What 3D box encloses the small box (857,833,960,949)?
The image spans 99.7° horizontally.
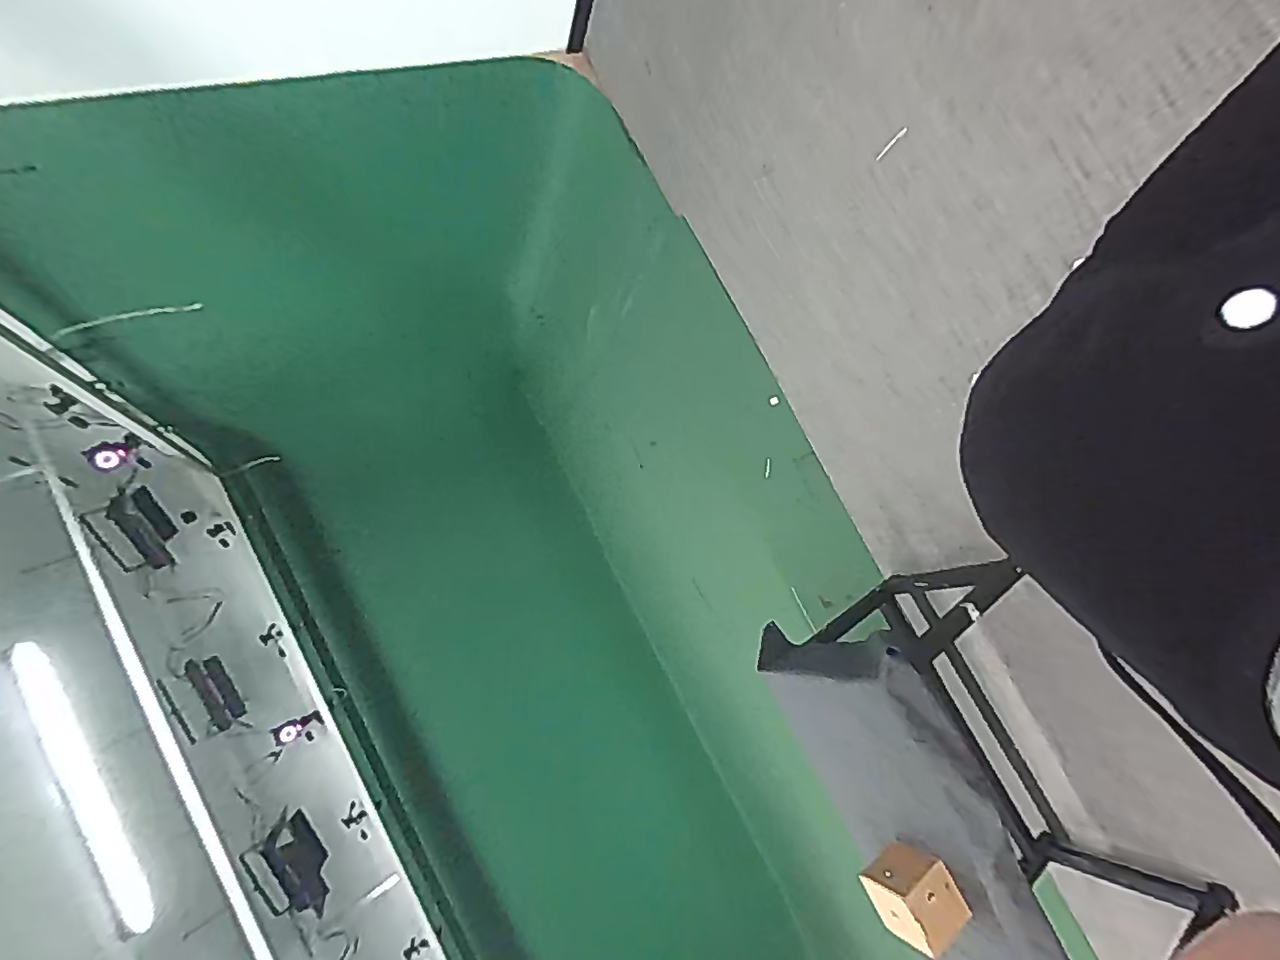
[{"bbox_3d":[0.764,1.144,1.525,0.168,0.176,0.179,63,157,5],"label":"small box"}]
